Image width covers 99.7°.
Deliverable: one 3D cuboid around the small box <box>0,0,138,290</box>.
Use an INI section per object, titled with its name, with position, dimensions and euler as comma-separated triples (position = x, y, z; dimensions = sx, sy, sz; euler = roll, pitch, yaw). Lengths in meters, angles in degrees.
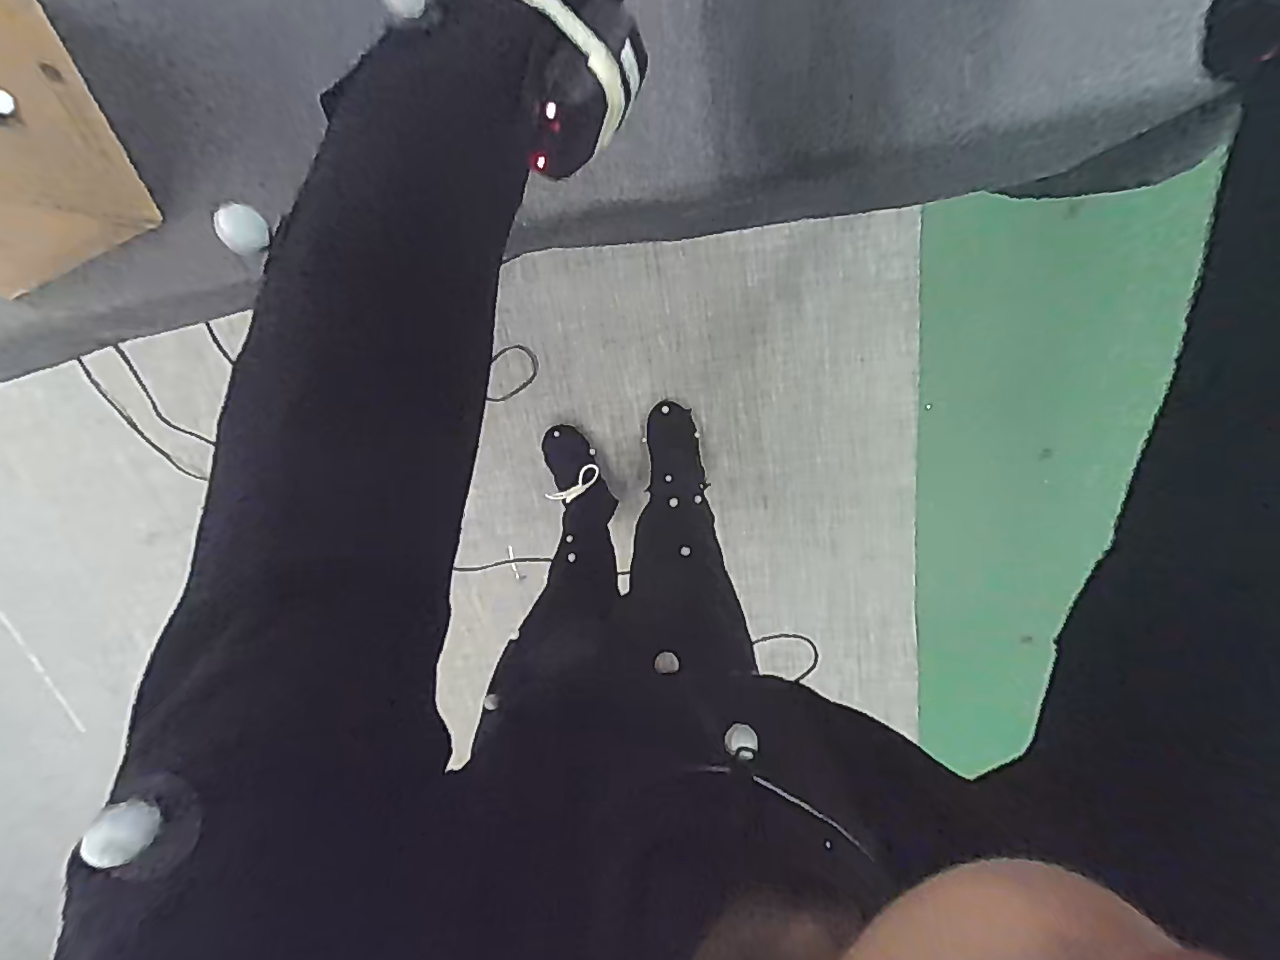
[small box]
position = -0.503, -0.235, 0.361
dimensions = 0.179, 0.176, 0.168
euler = -18, 107, 10
